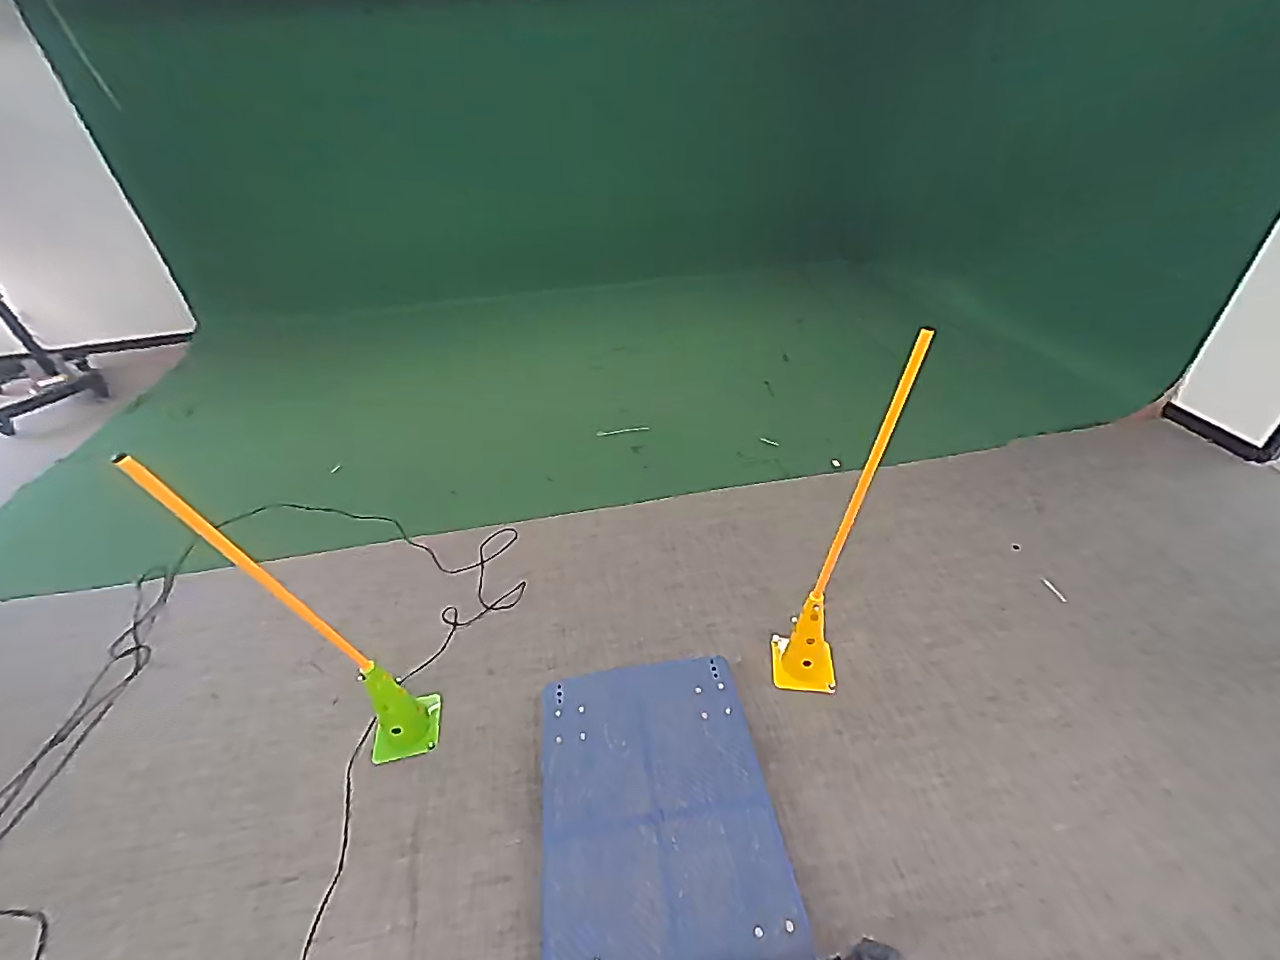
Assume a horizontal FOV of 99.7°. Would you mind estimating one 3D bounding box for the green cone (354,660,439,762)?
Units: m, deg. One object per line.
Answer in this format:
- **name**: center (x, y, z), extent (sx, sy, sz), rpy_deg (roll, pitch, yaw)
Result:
- **green cone**: center (-0.777, 0.666, 1.656), extent (0.202, 0.368, 0.200), rpy_deg (-12, 38, -7)
